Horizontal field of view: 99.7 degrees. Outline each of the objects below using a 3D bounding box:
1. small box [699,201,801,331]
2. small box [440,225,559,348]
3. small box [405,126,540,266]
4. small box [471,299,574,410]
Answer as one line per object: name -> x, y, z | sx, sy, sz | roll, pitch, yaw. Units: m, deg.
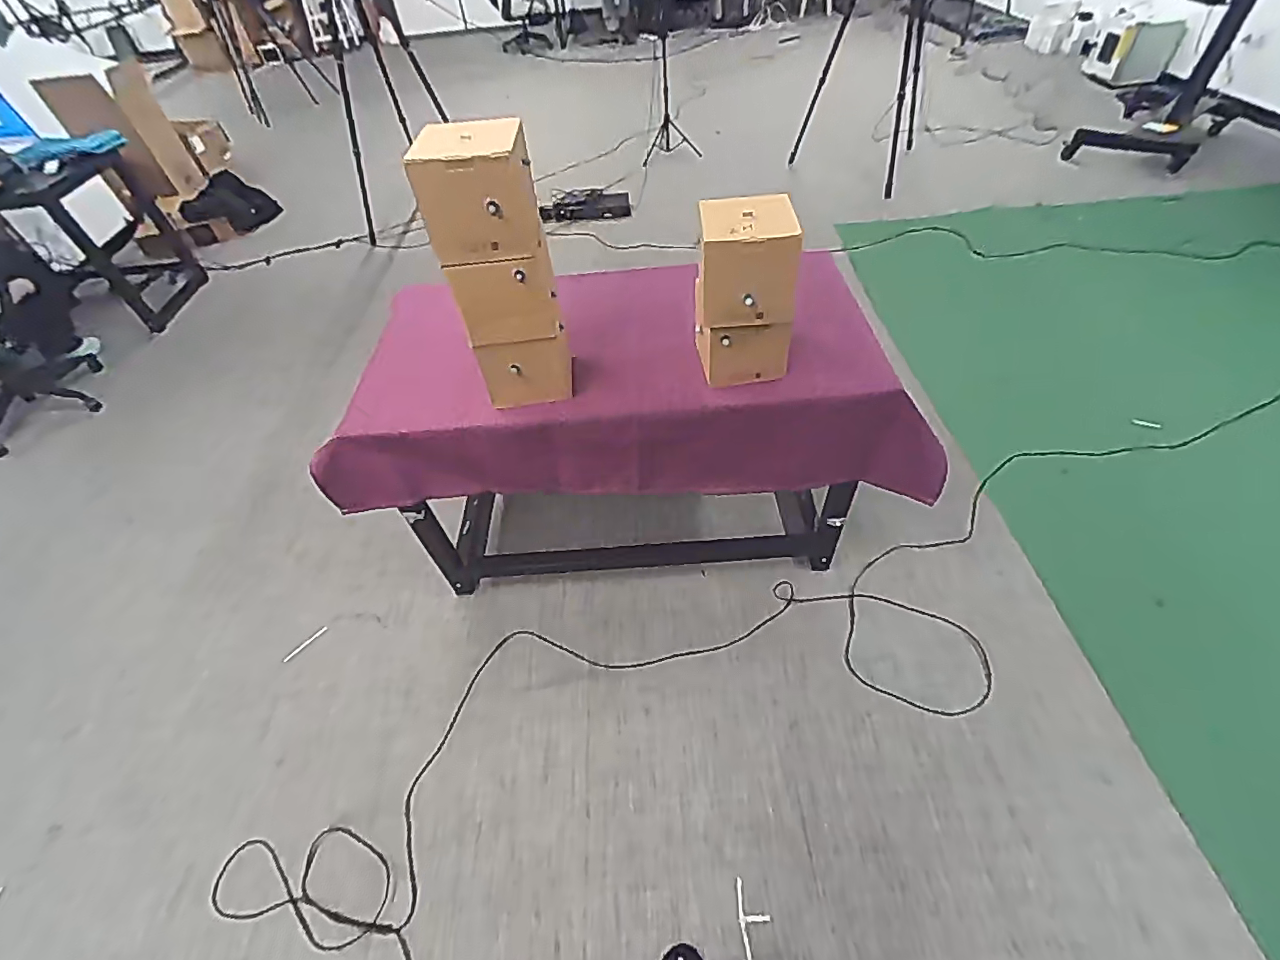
small box -> 0.196, -0.401, 1.018 | 0.168, 0.176, 0.179 | -2, 48, 5
small box -> -0.262, -0.372, 1.050 | 0.179, 0.176, 0.168 | -6, 48, 0
small box -> -0.274, -0.482, 0.931 | 0.168, 0.176, 0.179 | -4, 47, 1
small box -> -0.247, -0.268, 1.175 | 0.179, 0.176, 0.168 | -7, 49, 1
